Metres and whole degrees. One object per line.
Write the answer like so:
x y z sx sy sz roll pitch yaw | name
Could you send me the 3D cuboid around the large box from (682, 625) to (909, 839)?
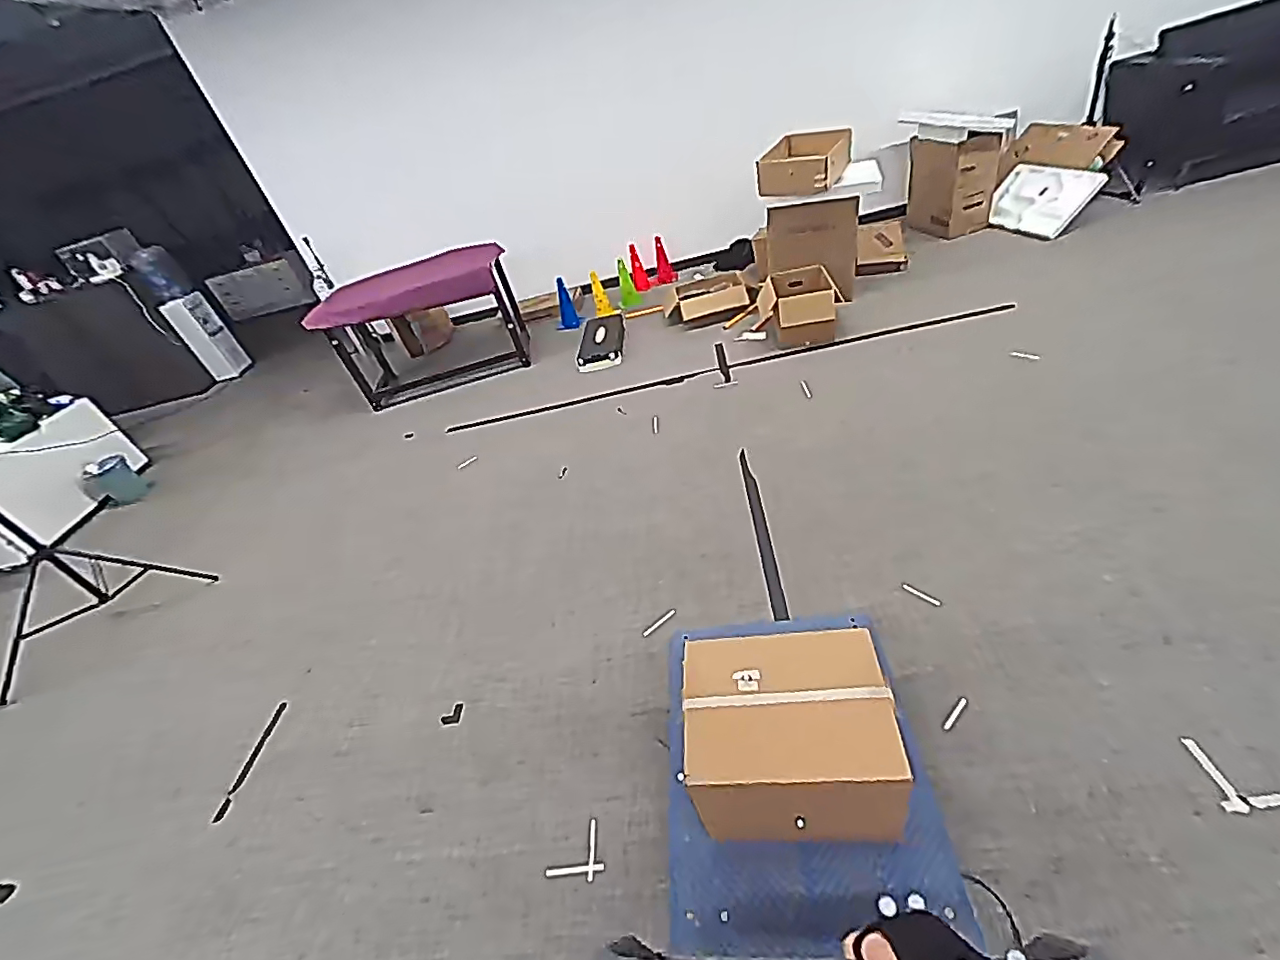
0.318 0.551 1.171 0.408 0.320 0.320 -9 37 12 | large box
